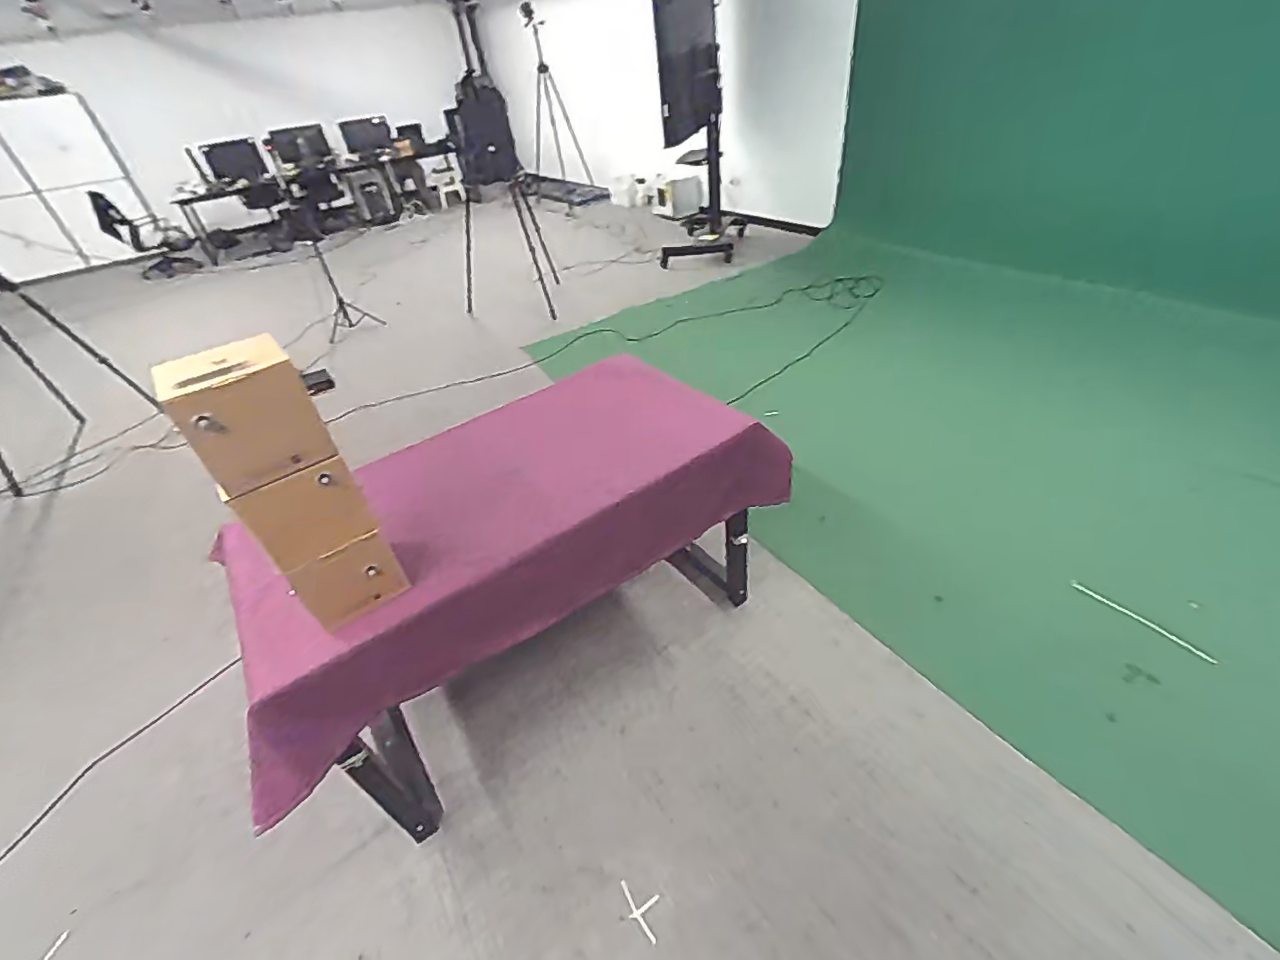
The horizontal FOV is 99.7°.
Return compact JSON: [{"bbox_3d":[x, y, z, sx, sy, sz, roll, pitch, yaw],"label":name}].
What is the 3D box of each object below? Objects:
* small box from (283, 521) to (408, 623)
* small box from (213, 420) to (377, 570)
[{"bbox_3d":[-0.578,0.150,1.051,0.168,0.176,0.179,-29,42,-26],"label":"small box"},{"bbox_3d":[-0.599,0.025,0.950,0.179,0.176,0.168,-30,43,-28],"label":"small box"}]
